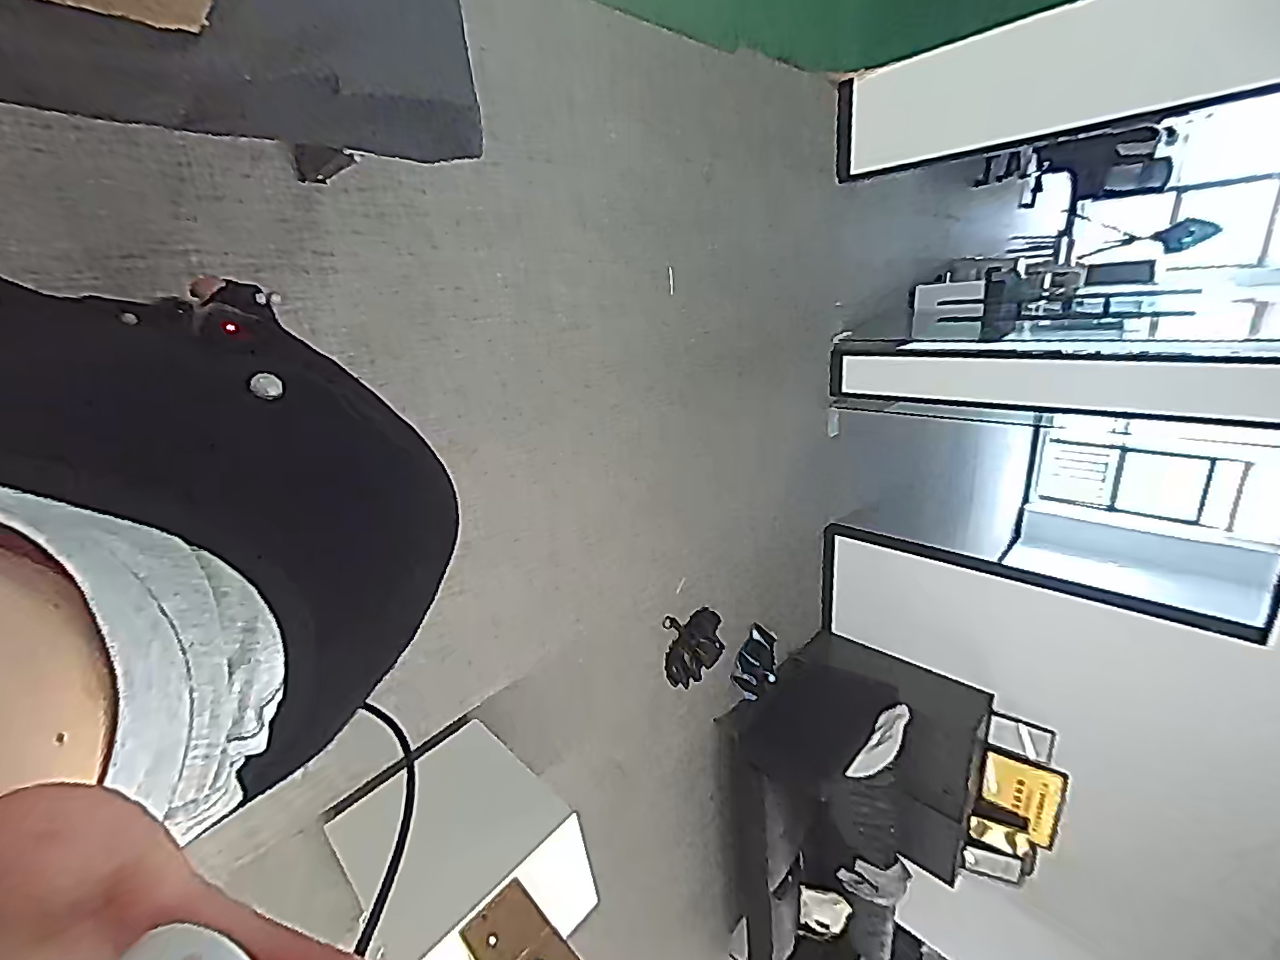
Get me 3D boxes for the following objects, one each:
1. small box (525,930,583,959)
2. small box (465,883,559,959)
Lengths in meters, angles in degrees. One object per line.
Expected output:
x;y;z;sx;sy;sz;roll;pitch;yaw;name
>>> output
-0.183;1.164;1.195;0.168;0.176;0.179;-27;118;-38;small box
-0.299;1.131;1.308;0.168;0.176;0.179;-27;121;-37;small box
